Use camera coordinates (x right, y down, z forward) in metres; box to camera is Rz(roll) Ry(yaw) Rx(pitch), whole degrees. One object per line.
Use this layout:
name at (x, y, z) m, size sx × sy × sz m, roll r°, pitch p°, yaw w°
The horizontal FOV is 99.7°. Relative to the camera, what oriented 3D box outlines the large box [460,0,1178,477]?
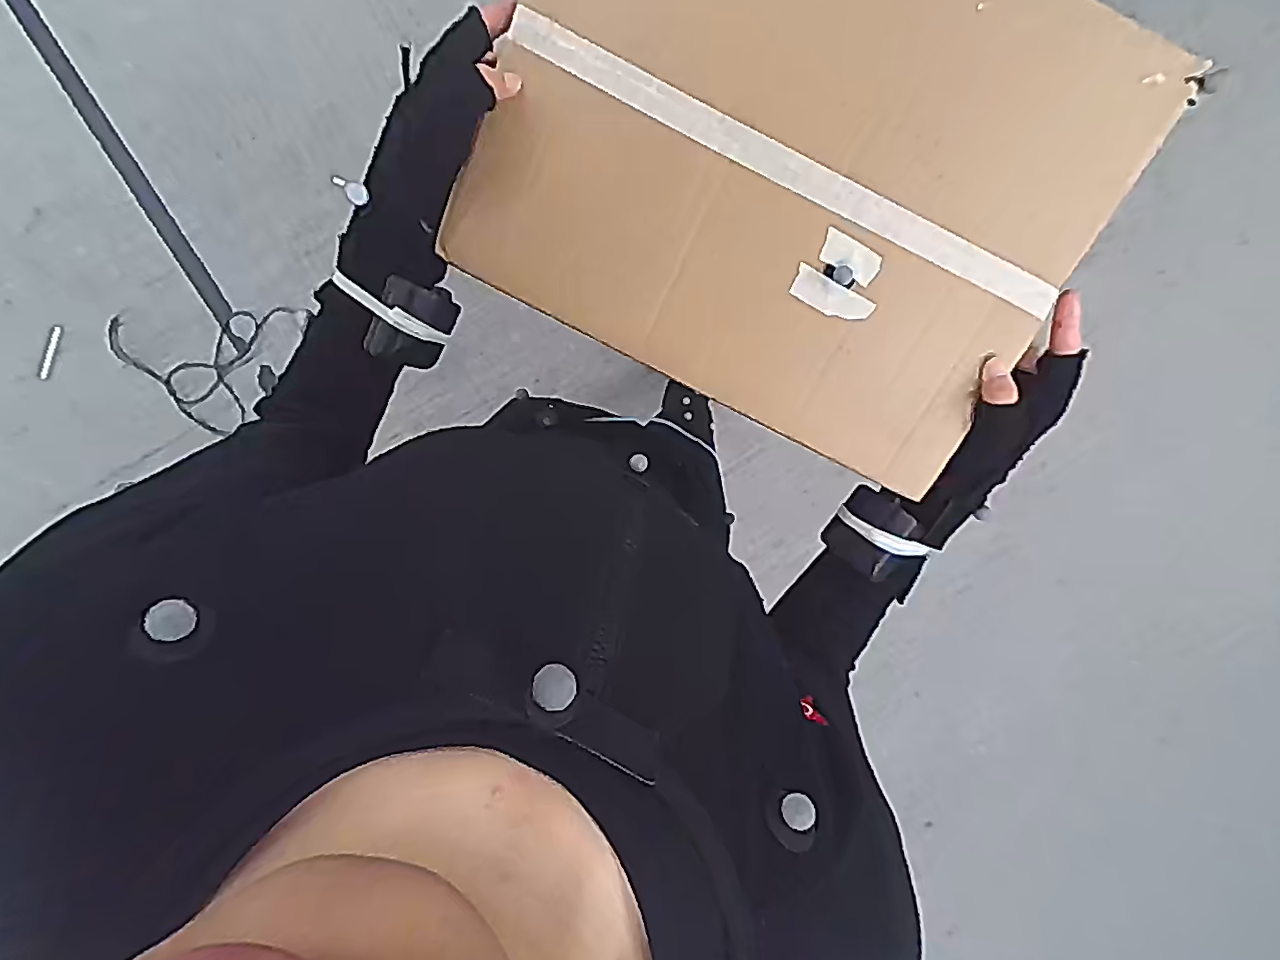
large box at (0.114, -0.253, 0.519) m, size 0.408 × 0.320 × 0.320 m, roll 27°, pitch 106°, yaw -3°
